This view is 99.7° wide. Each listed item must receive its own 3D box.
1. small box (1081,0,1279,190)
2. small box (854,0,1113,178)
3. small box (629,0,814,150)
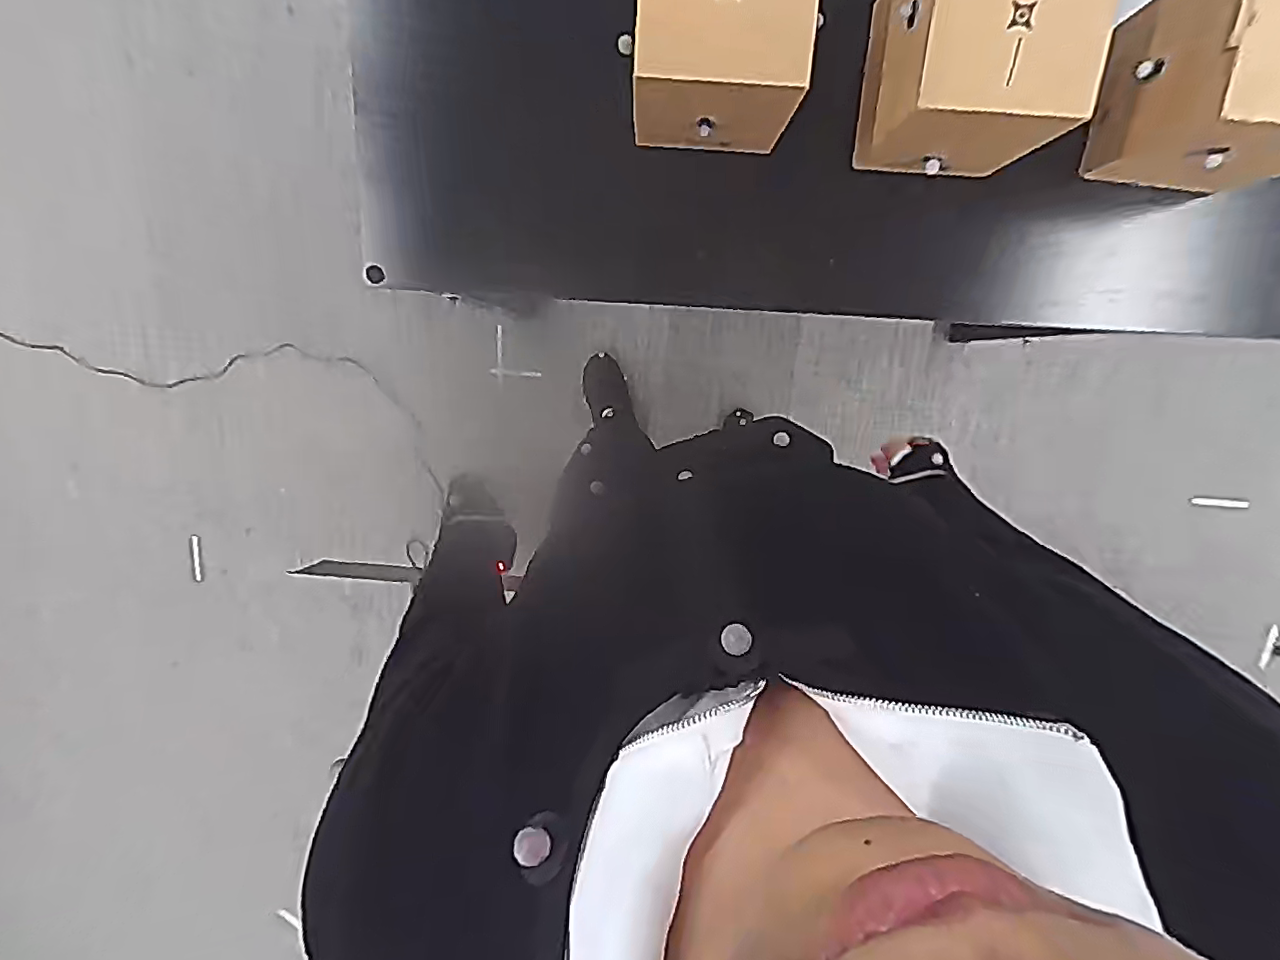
[{"bbox_3d":[0.623,-0.423,0.567,0.179,0.176,0.168,6,102,1],"label":"small box"},{"bbox_3d":[0.343,-0.444,0.565,0.168,0.176,0.179,4,103,0],"label":"small box"},{"bbox_3d":[0.079,-0.469,0.562,0.168,0.176,0.179,4,102,-1],"label":"small box"}]
